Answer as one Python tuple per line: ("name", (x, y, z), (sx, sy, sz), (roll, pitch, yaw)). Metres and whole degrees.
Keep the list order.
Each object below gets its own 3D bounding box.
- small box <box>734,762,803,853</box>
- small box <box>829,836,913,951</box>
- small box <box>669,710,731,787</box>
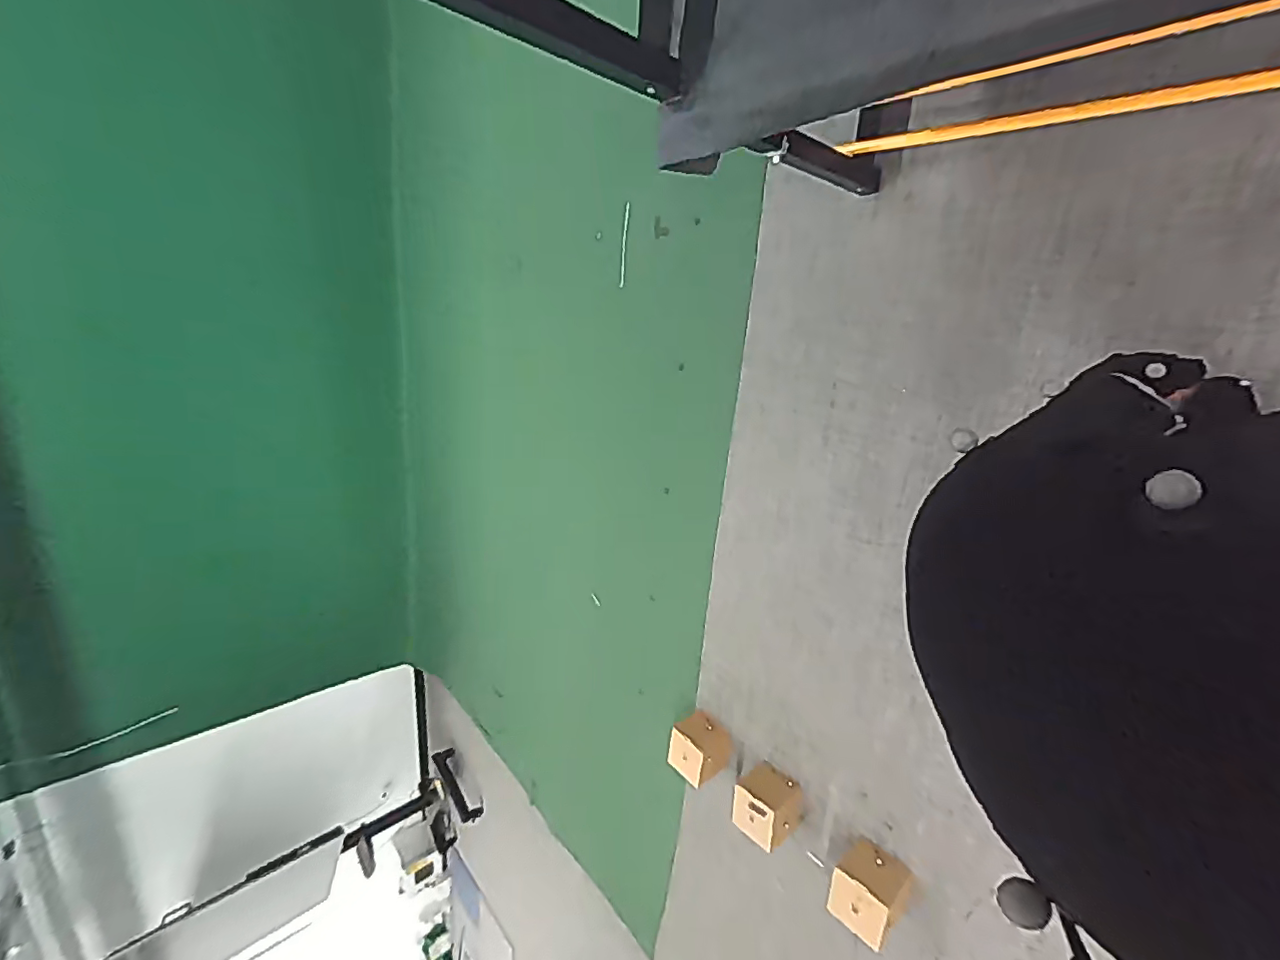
("small box", (0.451, 1.135, 1.892), (0.168, 0.176, 0.179), (17, 111, 46))
("small box", (0.698, 1.236, 1.628), (0.168, 0.176, 0.179), (19, 111, 44))
("small box", (0.237, 1.046, 2.118), (0.168, 0.176, 0.179), (24, 114, 43))
